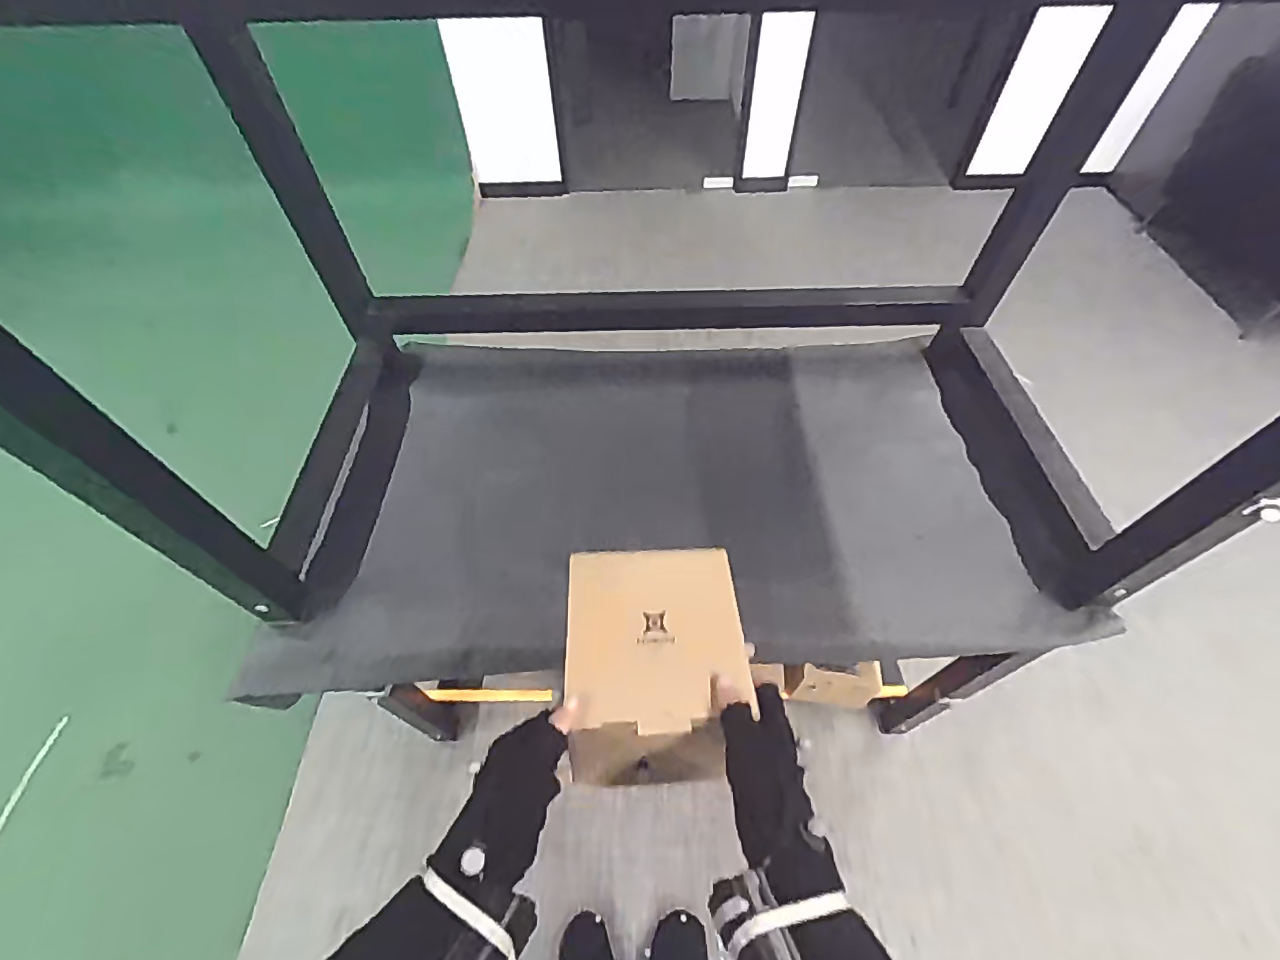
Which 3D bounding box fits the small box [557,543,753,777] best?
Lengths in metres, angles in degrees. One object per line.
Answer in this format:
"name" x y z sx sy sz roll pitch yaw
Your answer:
"small box" 0.007 0.185 0.560 0.168 0.176 0.179 -2 46 -3
